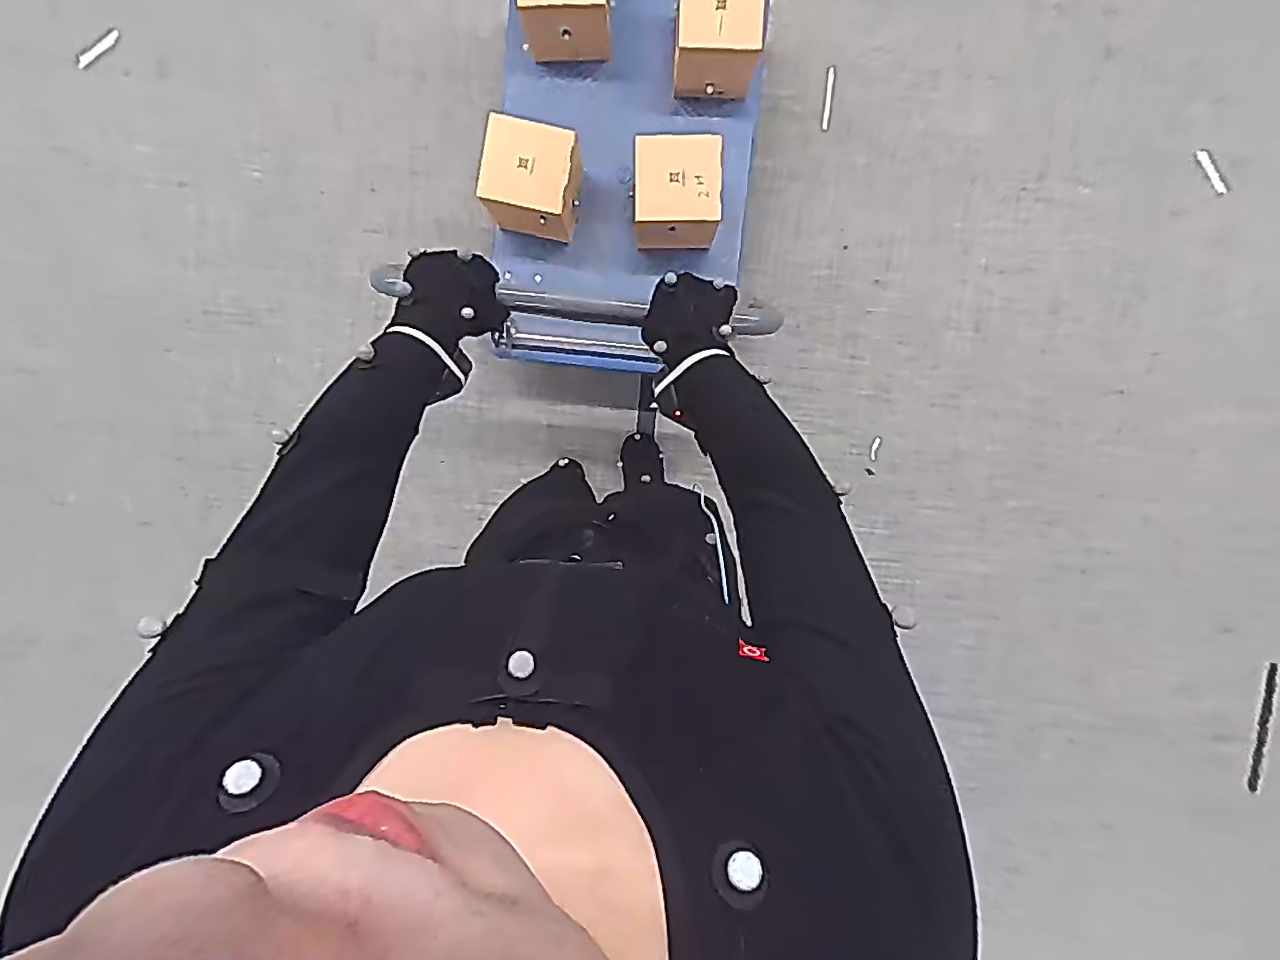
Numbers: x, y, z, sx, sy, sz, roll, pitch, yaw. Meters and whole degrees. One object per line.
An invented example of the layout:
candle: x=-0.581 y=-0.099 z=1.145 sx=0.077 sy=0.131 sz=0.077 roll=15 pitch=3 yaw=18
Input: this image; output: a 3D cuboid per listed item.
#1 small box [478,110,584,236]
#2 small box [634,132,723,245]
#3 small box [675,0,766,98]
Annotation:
small box: x=-0.226 y=-0.647 z=1.161 sx=0.179 sy=0.176 sz=0.168 roll=12 pitch=96 yaw=-2
small box: x=0.078 y=-0.618 z=1.163 sx=0.179 sy=0.176 sz=0.168 roll=1 pitch=96 yaw=0
small box: x=0.162 y=-0.944 z=1.129 sx=0.168 sy=0.176 sz=0.179 roll=2 pitch=97 yaw=0
